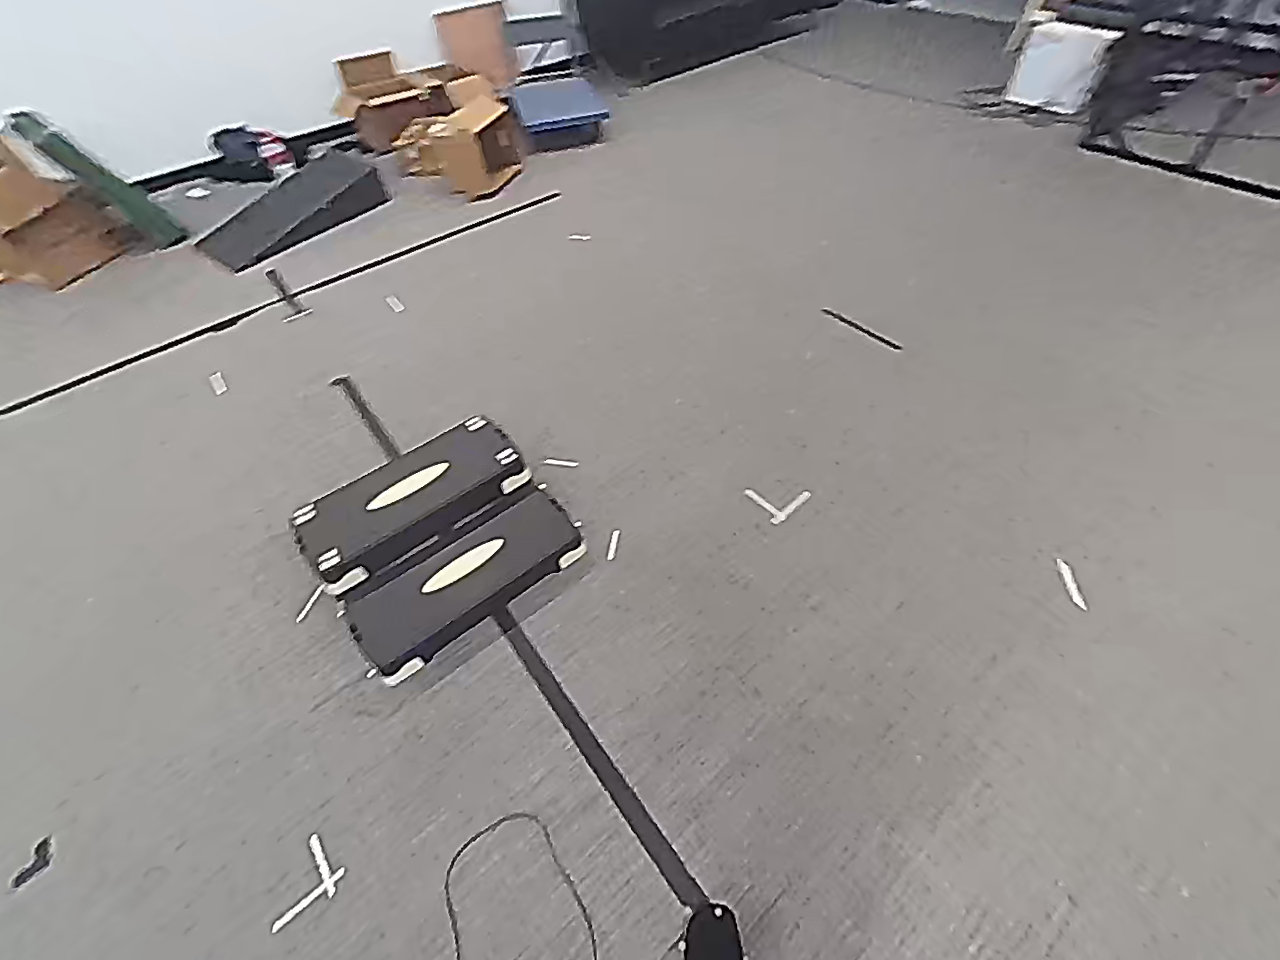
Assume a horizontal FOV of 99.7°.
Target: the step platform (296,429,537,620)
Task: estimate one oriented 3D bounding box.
[{"bbox_3d":[-0.674,0.116,1.684,0.684,0.204,0.286,-34,57,-23],"label":"step platform"}]
